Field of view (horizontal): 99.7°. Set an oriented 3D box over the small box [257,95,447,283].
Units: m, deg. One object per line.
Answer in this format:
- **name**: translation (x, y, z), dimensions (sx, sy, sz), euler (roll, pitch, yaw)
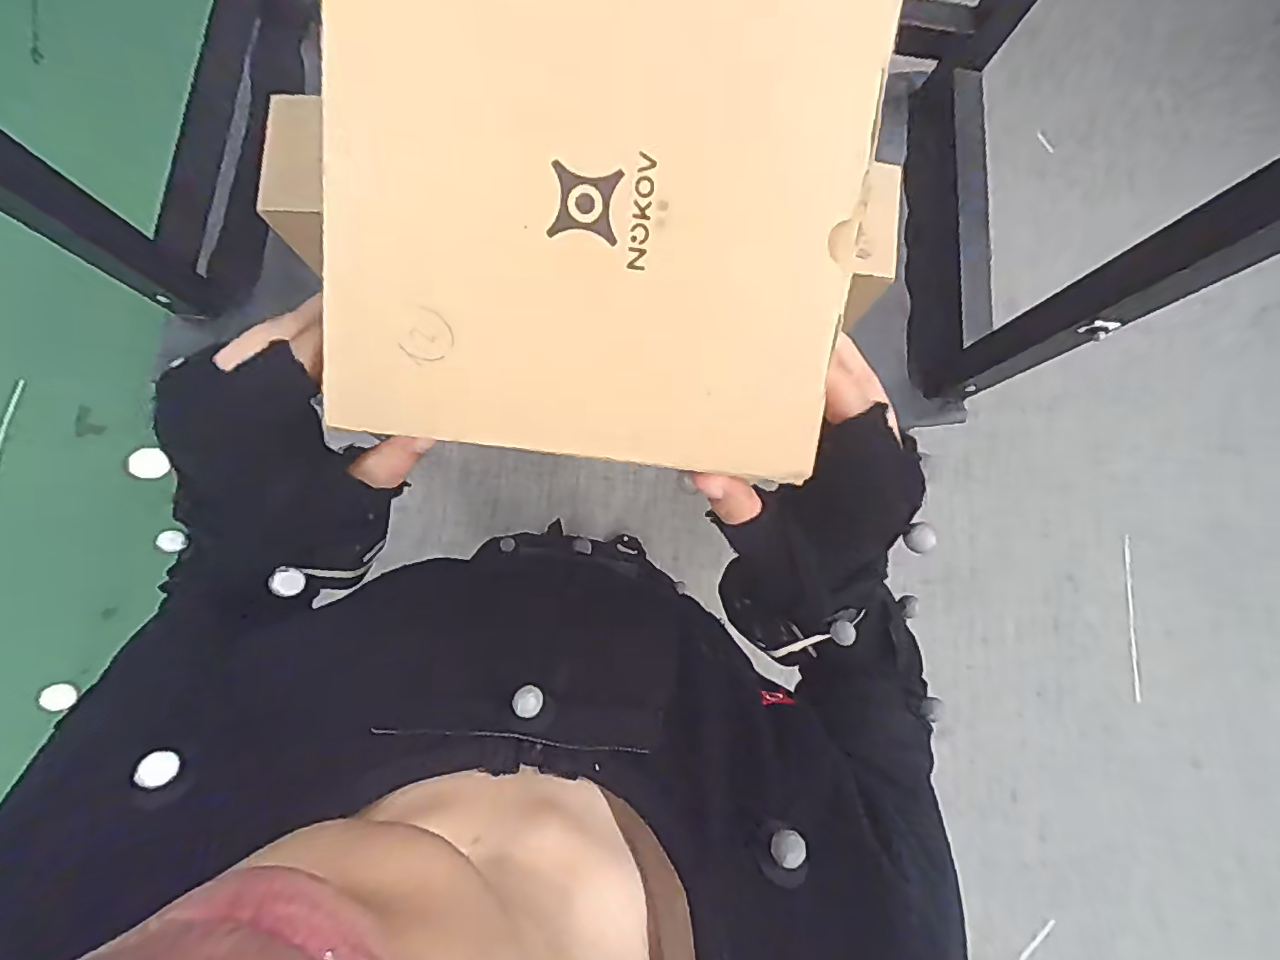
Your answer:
- **small box**: translation (-0.388, -0.394, 0.758), dimensions (0.179, 0.176, 0.168), euler (1, 81, -5)
